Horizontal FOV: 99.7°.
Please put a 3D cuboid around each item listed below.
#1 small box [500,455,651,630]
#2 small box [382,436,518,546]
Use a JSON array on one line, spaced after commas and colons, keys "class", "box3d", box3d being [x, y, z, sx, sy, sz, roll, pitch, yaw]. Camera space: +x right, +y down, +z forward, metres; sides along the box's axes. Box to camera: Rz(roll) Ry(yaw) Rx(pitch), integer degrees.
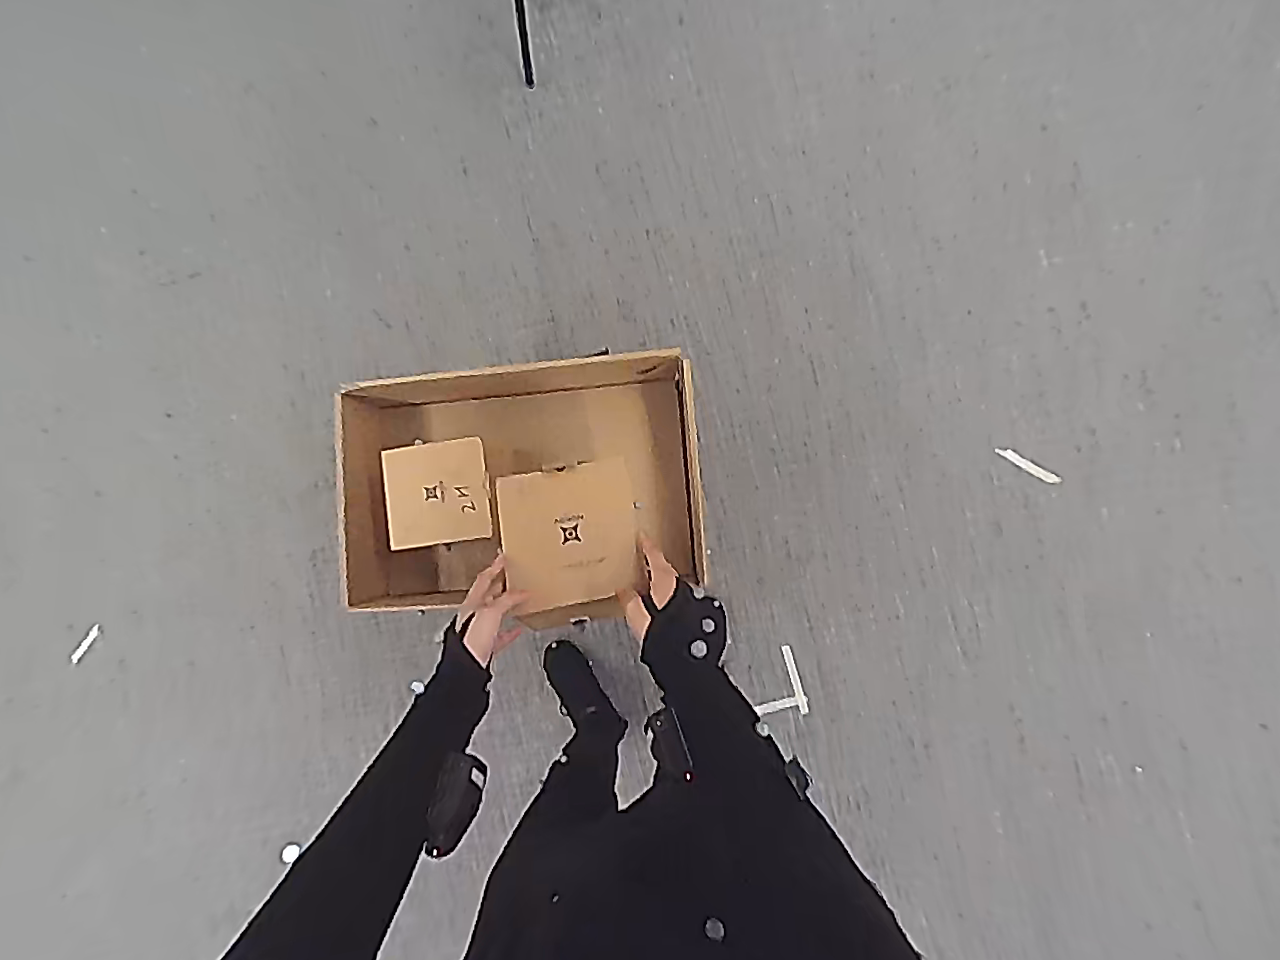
[{"class": "small box", "box3d": [-0.083, 0.089, 0.723, 0.168, 0.176, 0.179, -10, 68, -4]}, {"class": "small box", "box3d": [-0.321, 0.024, 0.953, 0.179, 0.176, 0.168, -8, 86, 4]}]
